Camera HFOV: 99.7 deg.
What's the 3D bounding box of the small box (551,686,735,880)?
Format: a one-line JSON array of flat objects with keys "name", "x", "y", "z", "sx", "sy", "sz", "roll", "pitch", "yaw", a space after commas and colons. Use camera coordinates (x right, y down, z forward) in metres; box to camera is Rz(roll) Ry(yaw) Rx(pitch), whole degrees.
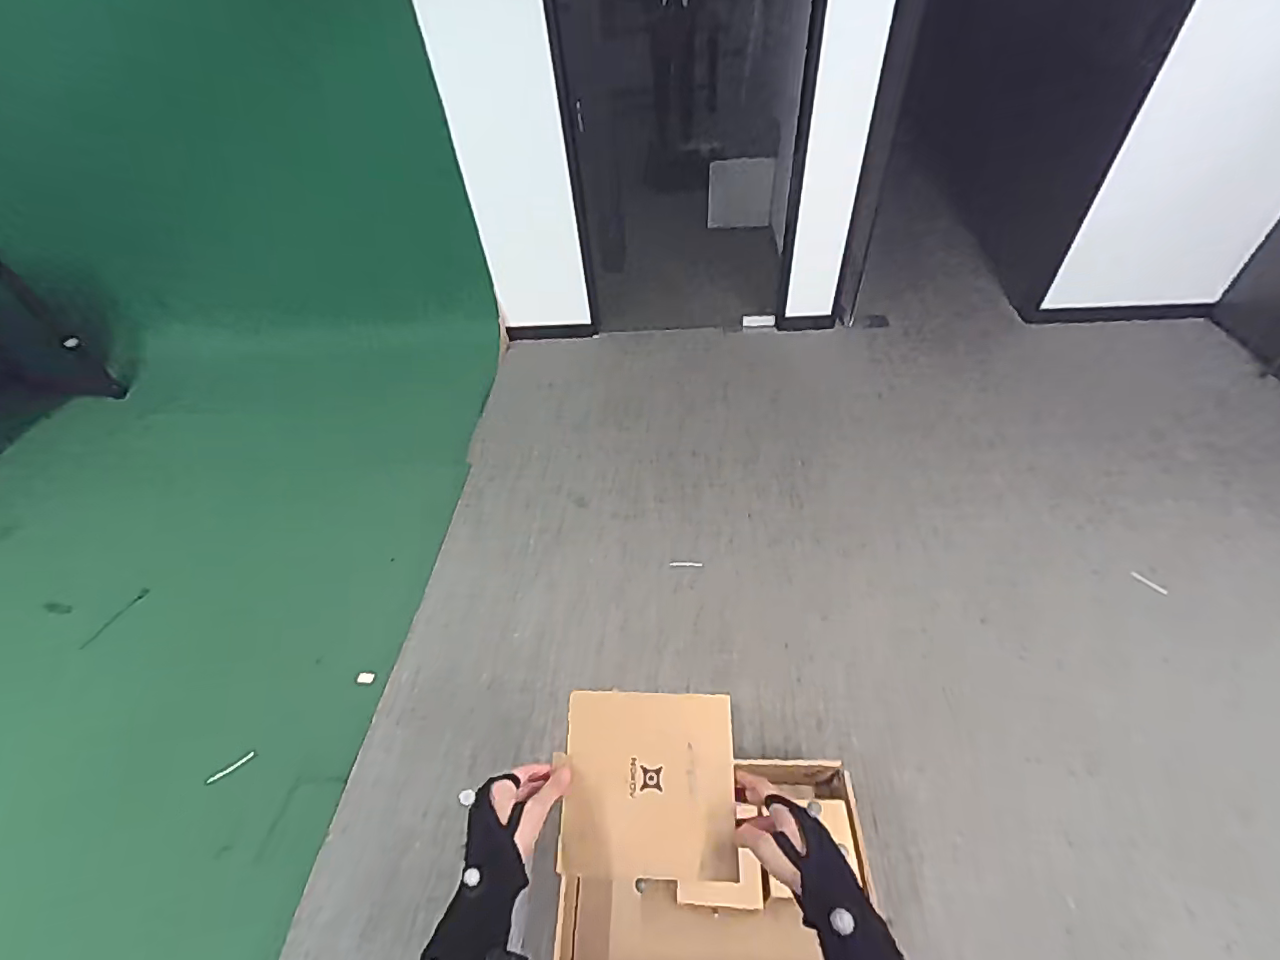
[{"name": "small box", "x": 0.009, "y": 0.337, "z": 0.612, "sx": 0.179, "sy": 0.176, "sz": 0.168, "roll": 1, "pitch": 60, "yaw": 3}]
